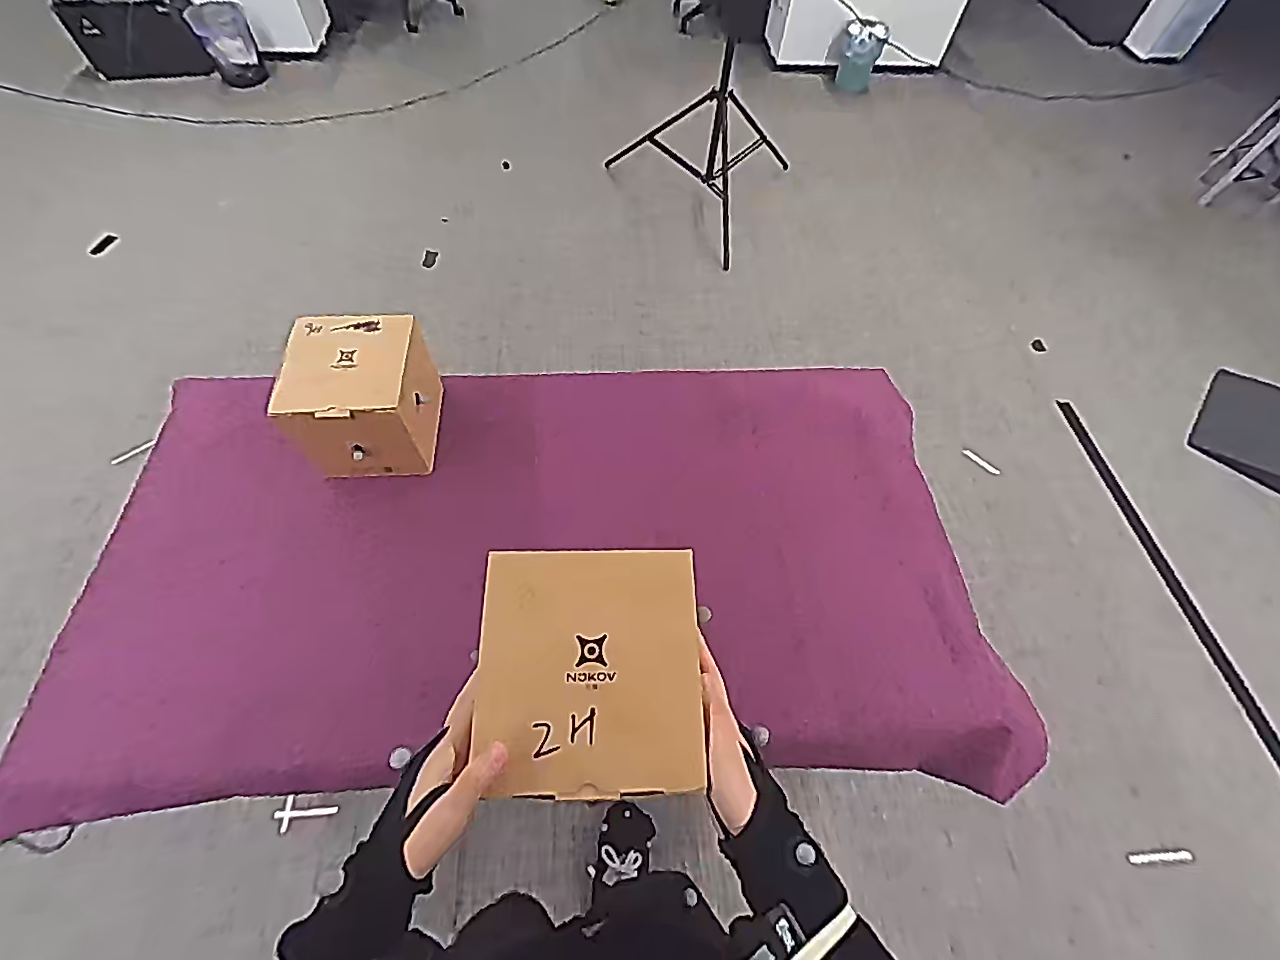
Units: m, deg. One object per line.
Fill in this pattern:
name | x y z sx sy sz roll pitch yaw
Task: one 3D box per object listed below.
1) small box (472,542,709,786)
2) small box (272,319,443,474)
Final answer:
small box | -0.037 0.165 0.477 0.168 0.176 0.179 0 64 -2
small box | -0.405 -0.117 0.811 0.168 0.176 0.179 -2 61 -5
